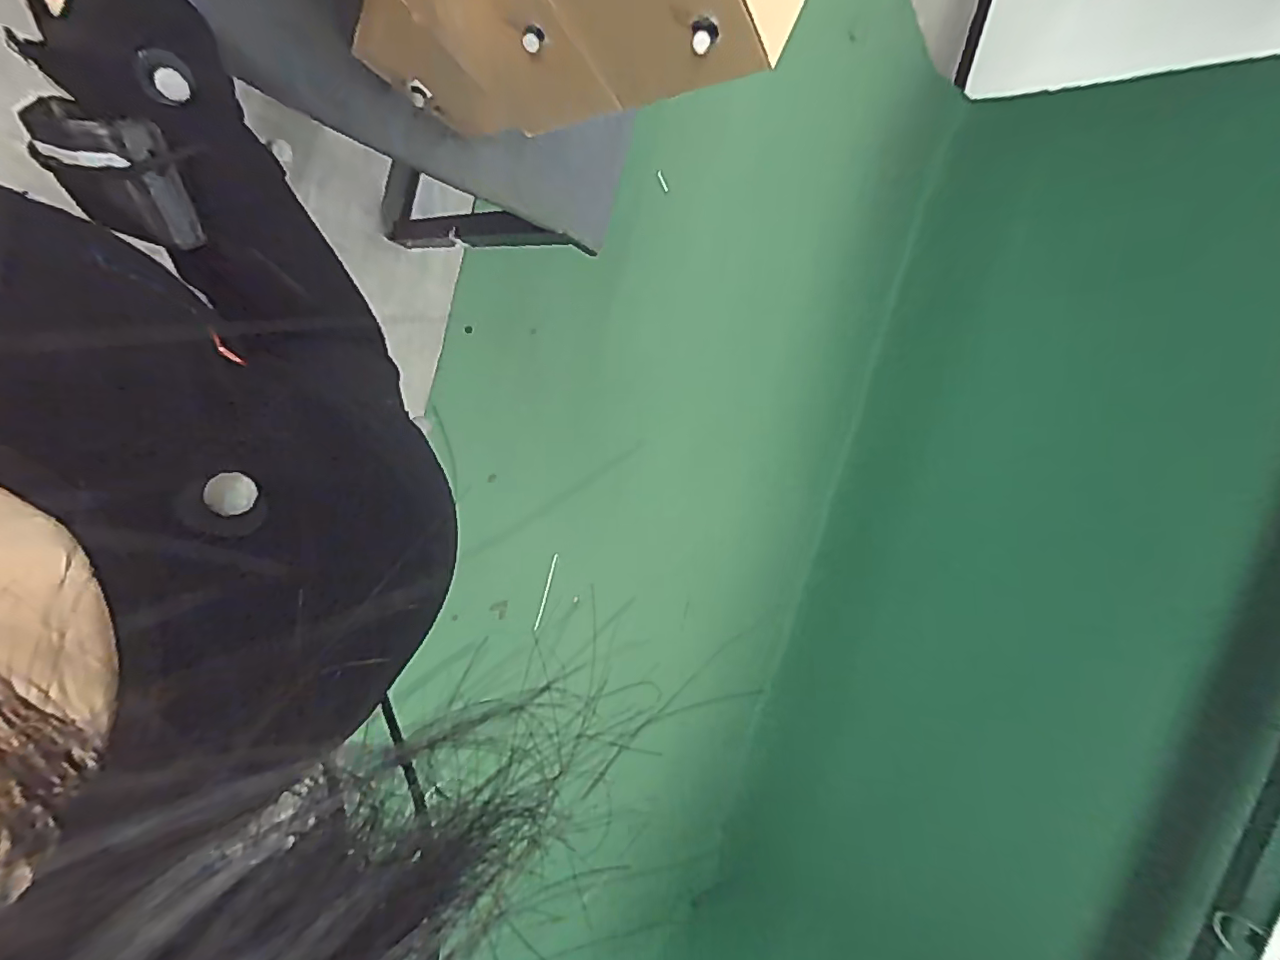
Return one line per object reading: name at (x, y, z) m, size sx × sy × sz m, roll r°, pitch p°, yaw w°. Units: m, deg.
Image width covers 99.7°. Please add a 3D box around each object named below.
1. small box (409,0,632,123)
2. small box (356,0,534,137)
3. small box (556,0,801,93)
small box at (-0.092, -0.488, 0.529) m, size 0.179 × 0.176 × 0.168 m, roll 29°, pitch 83°, yaw -49°
small box at (-0.205, -0.543, 0.633) m, size 0.168 × 0.176 × 0.179 m, roll 12°, pitch 96°, yaw -49°
small box at (0.030, -0.448, 0.426) m, size 0.179 × 0.176 × 0.168 m, roll 31°, pitch 81°, yaw -48°
